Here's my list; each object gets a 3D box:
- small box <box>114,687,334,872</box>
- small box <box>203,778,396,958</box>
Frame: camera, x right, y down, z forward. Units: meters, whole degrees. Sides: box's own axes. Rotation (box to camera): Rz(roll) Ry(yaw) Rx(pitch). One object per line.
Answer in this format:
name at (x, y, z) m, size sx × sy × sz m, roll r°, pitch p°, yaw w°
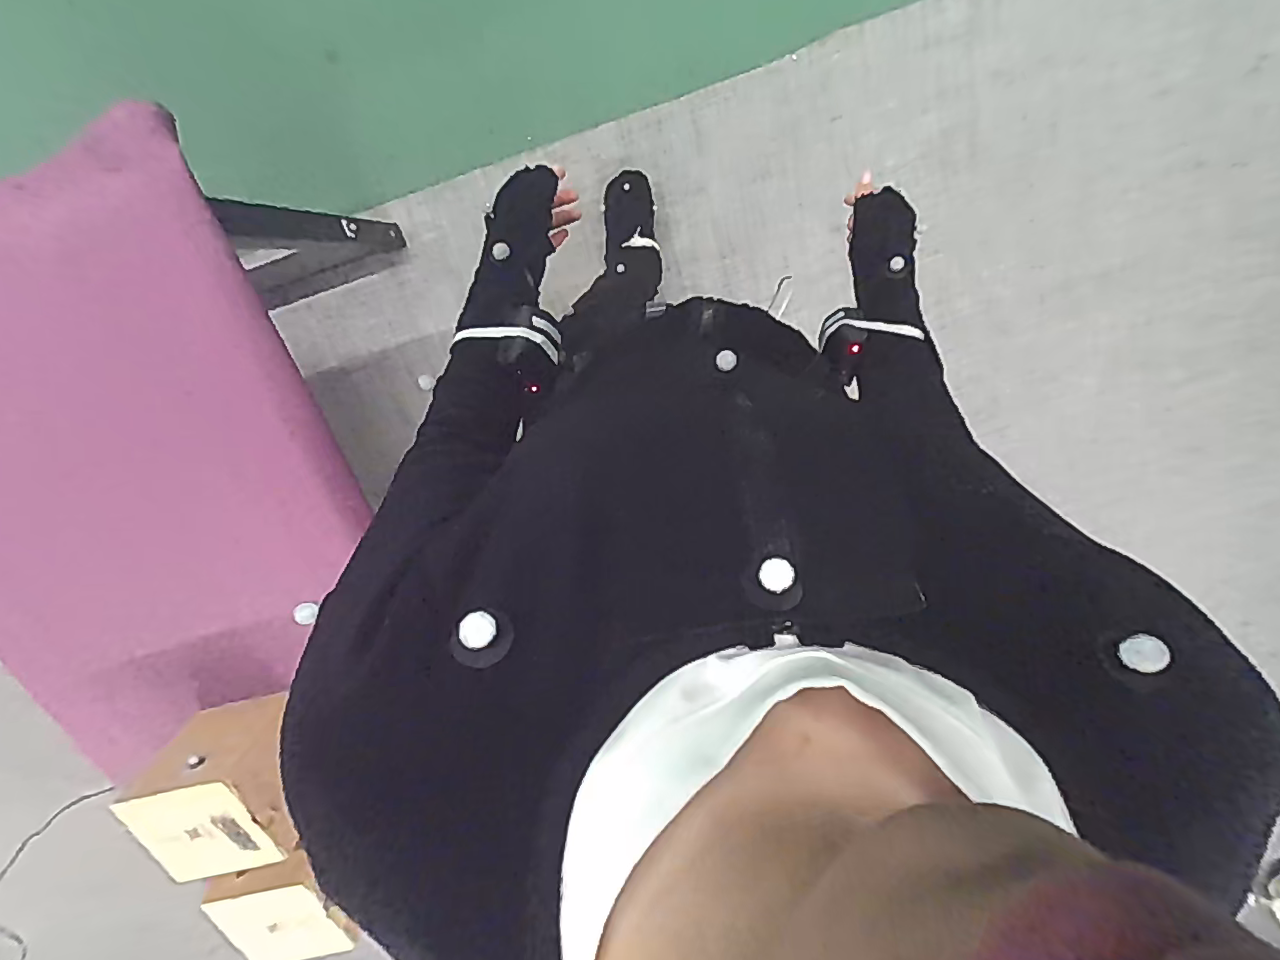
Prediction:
small box at (-0.600, 0.441, 0.816) m, size 0.179 × 0.176 × 0.168 m, roll -14°, pitch 111°, yaw 6°
small box at (-0.545, 0.633, 0.894) m, size 0.179 × 0.176 × 0.168 m, roll -15°, pitch 112°, yaw 5°
